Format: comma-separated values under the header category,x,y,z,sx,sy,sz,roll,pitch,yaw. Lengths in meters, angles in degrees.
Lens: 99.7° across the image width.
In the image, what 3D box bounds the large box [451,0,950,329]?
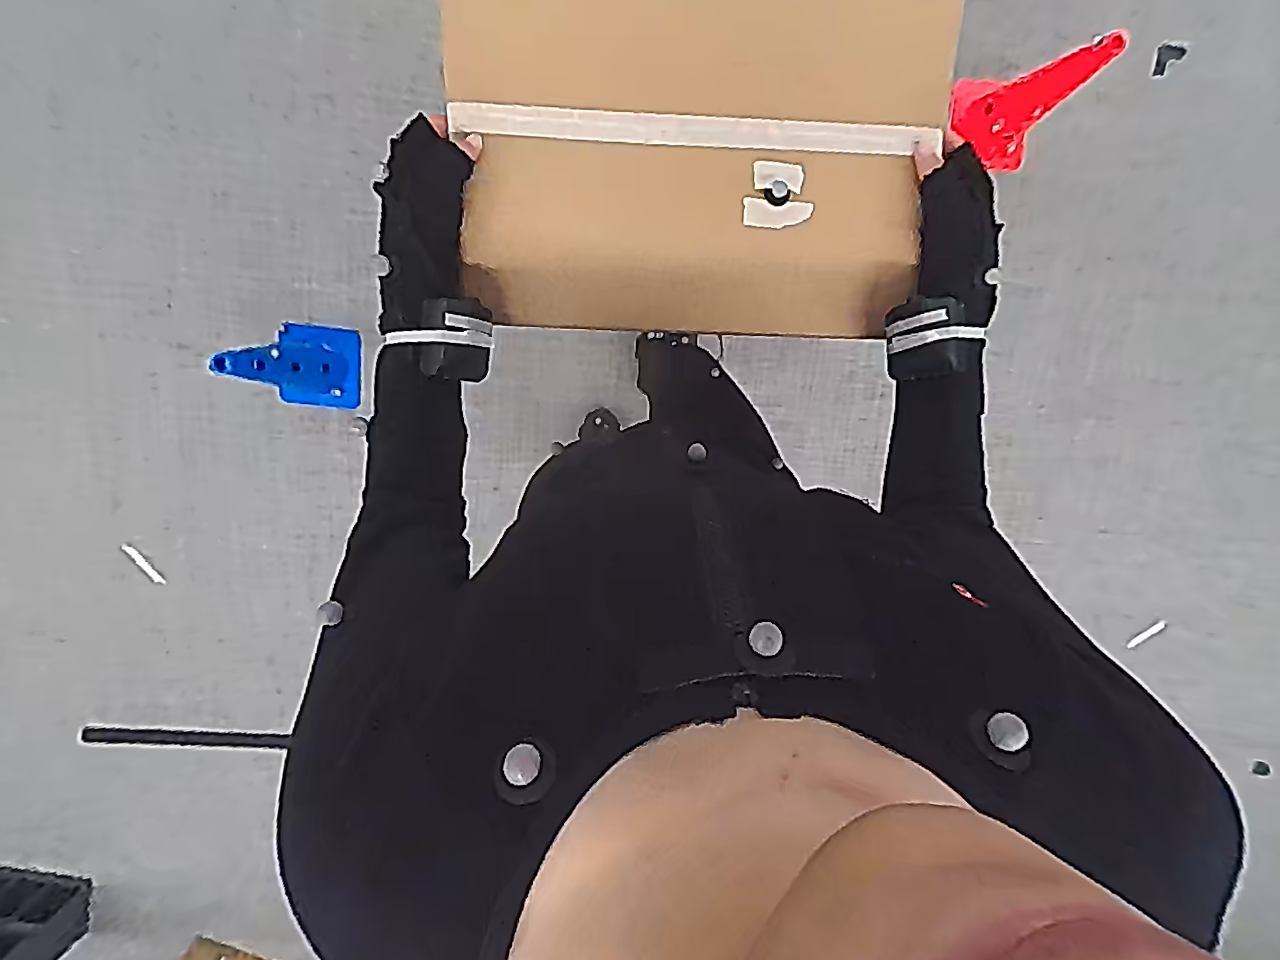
category,x,y,z,sx,sy,sz,roll,pitch,yaw
large box,0.040,-0.332,0.593,0.408,0.320,0.320,1,106,-4

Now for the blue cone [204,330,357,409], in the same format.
category,x,y,z,sx,sy,sz,roll,pitch,yaw
blue cone,-0.812,-0.248,1.217,0.192,0.380,0.193,7,100,-3

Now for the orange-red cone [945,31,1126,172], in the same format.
category,x,y,z,sx,sy,sz,roll,pitch,yaw
orange-red cone,0.873,-0.849,1.176,0.198,0.360,0.199,1,100,-4
